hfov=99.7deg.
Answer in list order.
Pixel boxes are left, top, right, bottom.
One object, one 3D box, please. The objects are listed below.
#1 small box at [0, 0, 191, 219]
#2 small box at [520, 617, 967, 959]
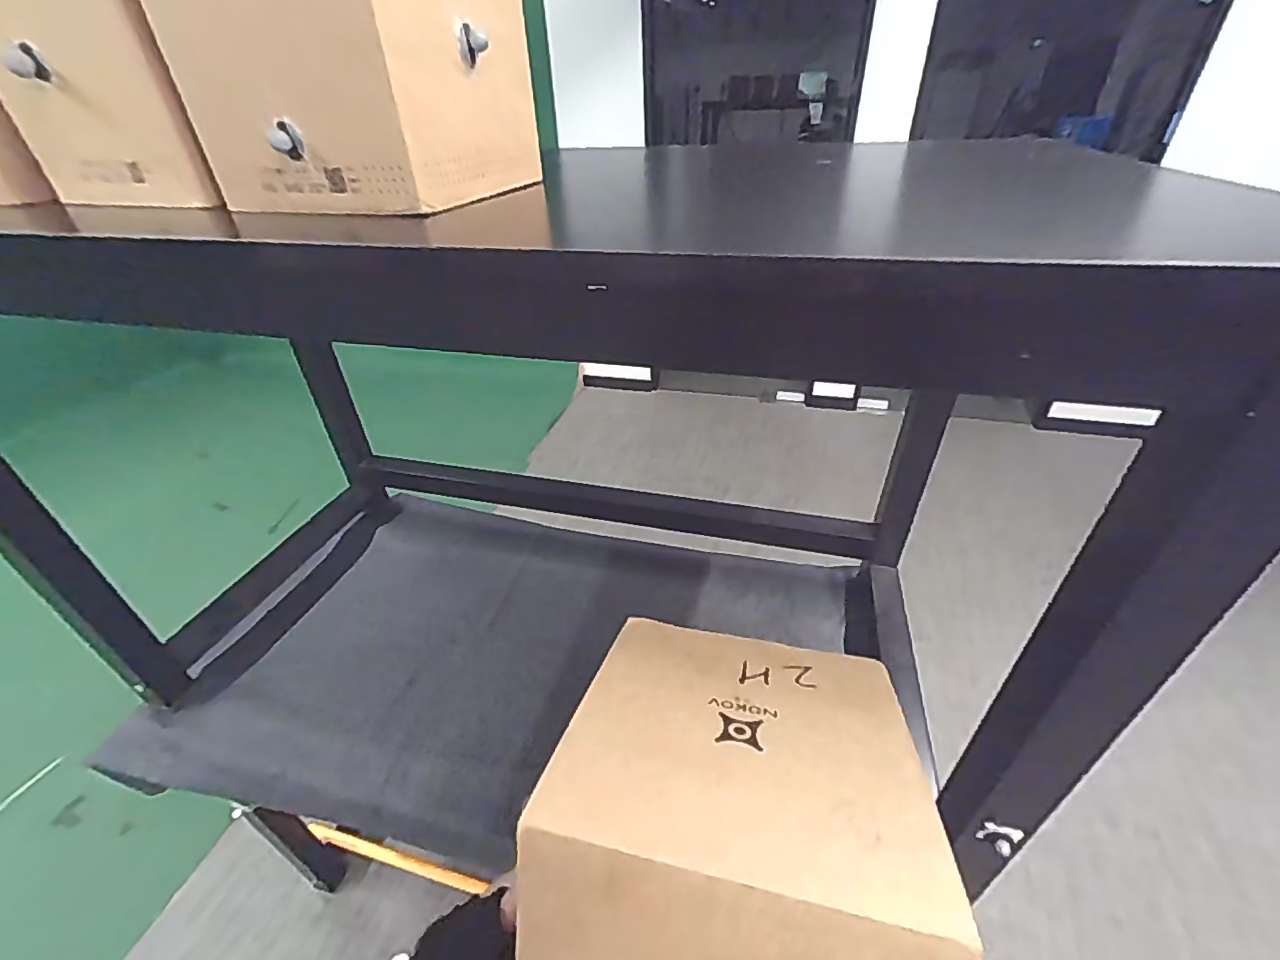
[{"bbox_3d":[-0.562,-0.346,0.489,0.168,0.176,0.179,9,38,15],"label":"small box"},{"bbox_3d":[0.048,0.202,0.294,0.168,0.176,0.179,7,14,12],"label":"small box"}]
